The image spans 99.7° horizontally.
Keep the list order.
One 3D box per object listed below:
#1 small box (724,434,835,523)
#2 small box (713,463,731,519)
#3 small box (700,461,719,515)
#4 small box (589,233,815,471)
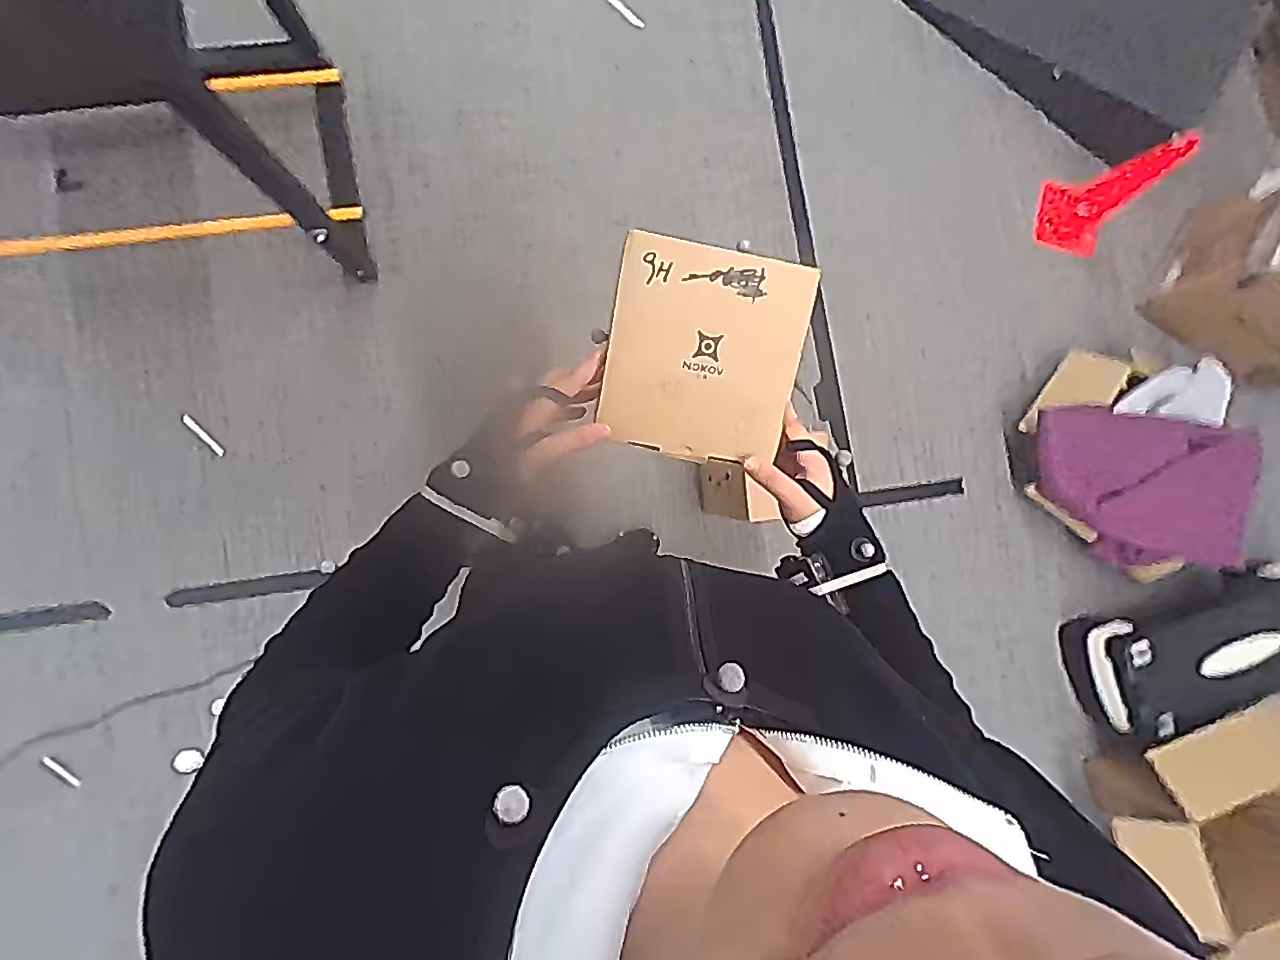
[{"bbox_3d":[0.282,-0.001,1.129,0.179,0.176,0.168,-5,87,-4],"label":"small box"},{"bbox_3d":[0.282,0.003,1.292,0.179,0.176,0.168,-5,88,-5],"label":"small box"},{"bbox_3d":[0.262,0.003,1.456,0.168,0.176,0.179,-5,89,-5],"label":"small box"},{"bbox_3d":[0.046,-0.124,0.536,0.168,0.176,0.179,8,105,-7],"label":"small box"}]
